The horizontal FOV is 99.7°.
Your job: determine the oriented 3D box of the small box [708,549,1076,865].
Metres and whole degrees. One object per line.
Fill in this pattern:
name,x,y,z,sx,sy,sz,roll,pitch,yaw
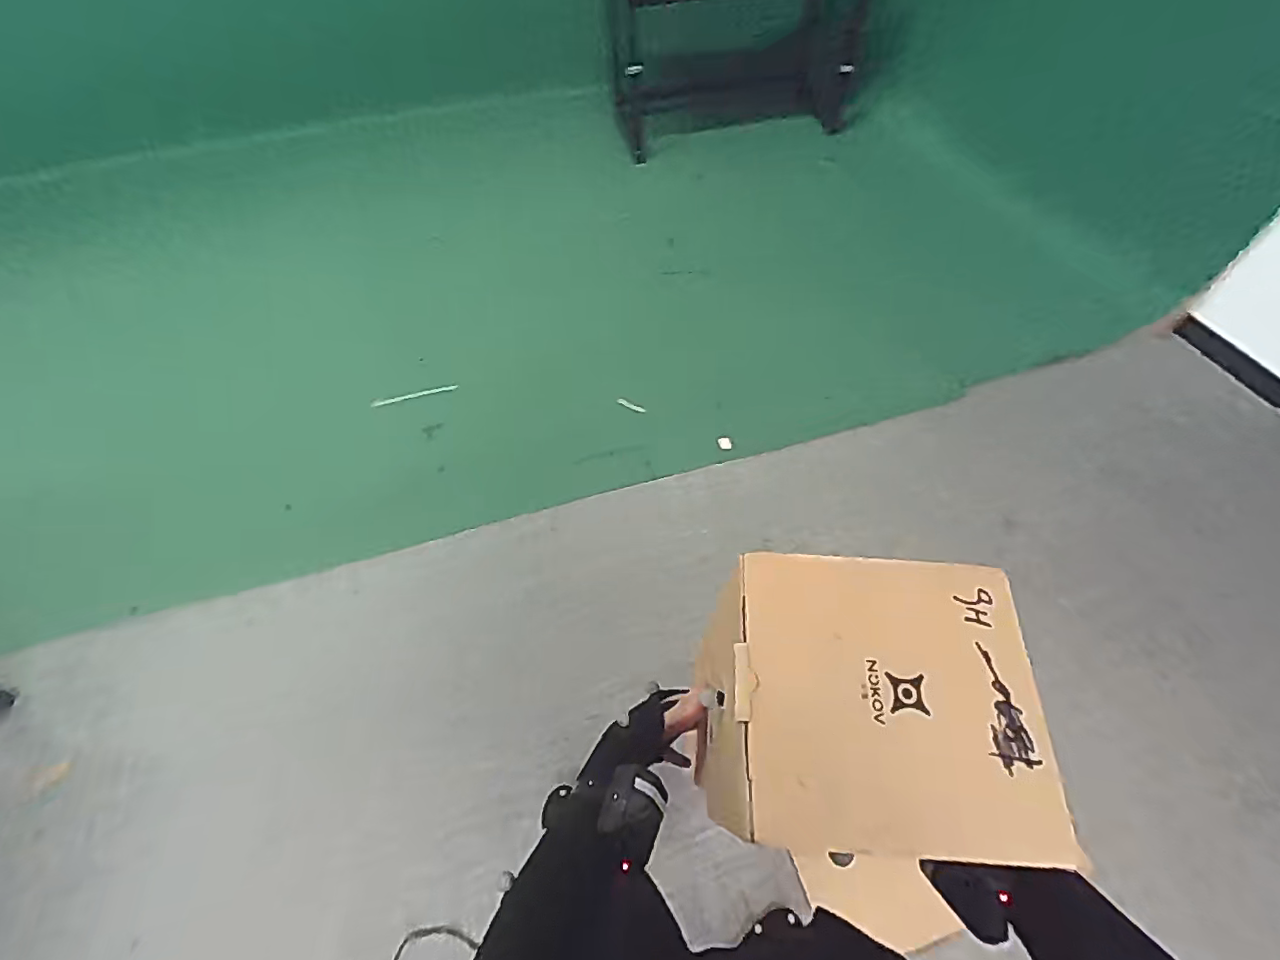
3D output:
small box,0.142,0.160,0.386,0.179,0.176,0.168,3,61,1
